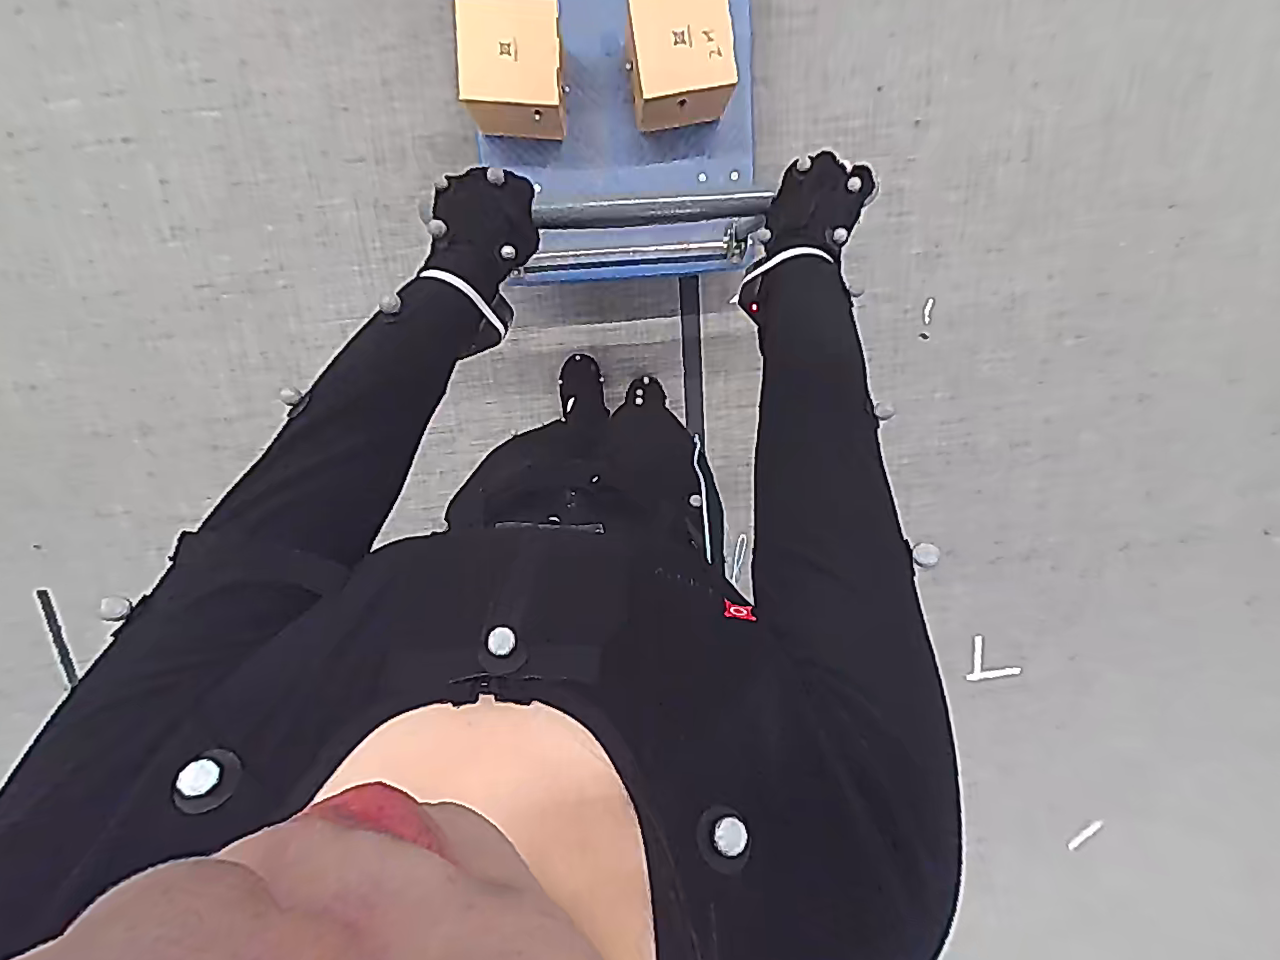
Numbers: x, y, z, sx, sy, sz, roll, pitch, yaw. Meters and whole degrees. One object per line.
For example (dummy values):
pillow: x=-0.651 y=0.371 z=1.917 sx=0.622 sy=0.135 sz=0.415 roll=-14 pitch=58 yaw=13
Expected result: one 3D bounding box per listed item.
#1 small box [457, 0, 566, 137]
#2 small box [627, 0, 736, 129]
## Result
small box: x=-0.233 y=-0.770 z=1.018 sx=0.179 sy=0.176 sz=0.168 roll=1 pitch=104 yaw=-5
small box: x=0.073 y=-0.796 z=1.027 sx=0.179 sy=0.176 sz=0.168 roll=-10 pitch=105 yaw=0
